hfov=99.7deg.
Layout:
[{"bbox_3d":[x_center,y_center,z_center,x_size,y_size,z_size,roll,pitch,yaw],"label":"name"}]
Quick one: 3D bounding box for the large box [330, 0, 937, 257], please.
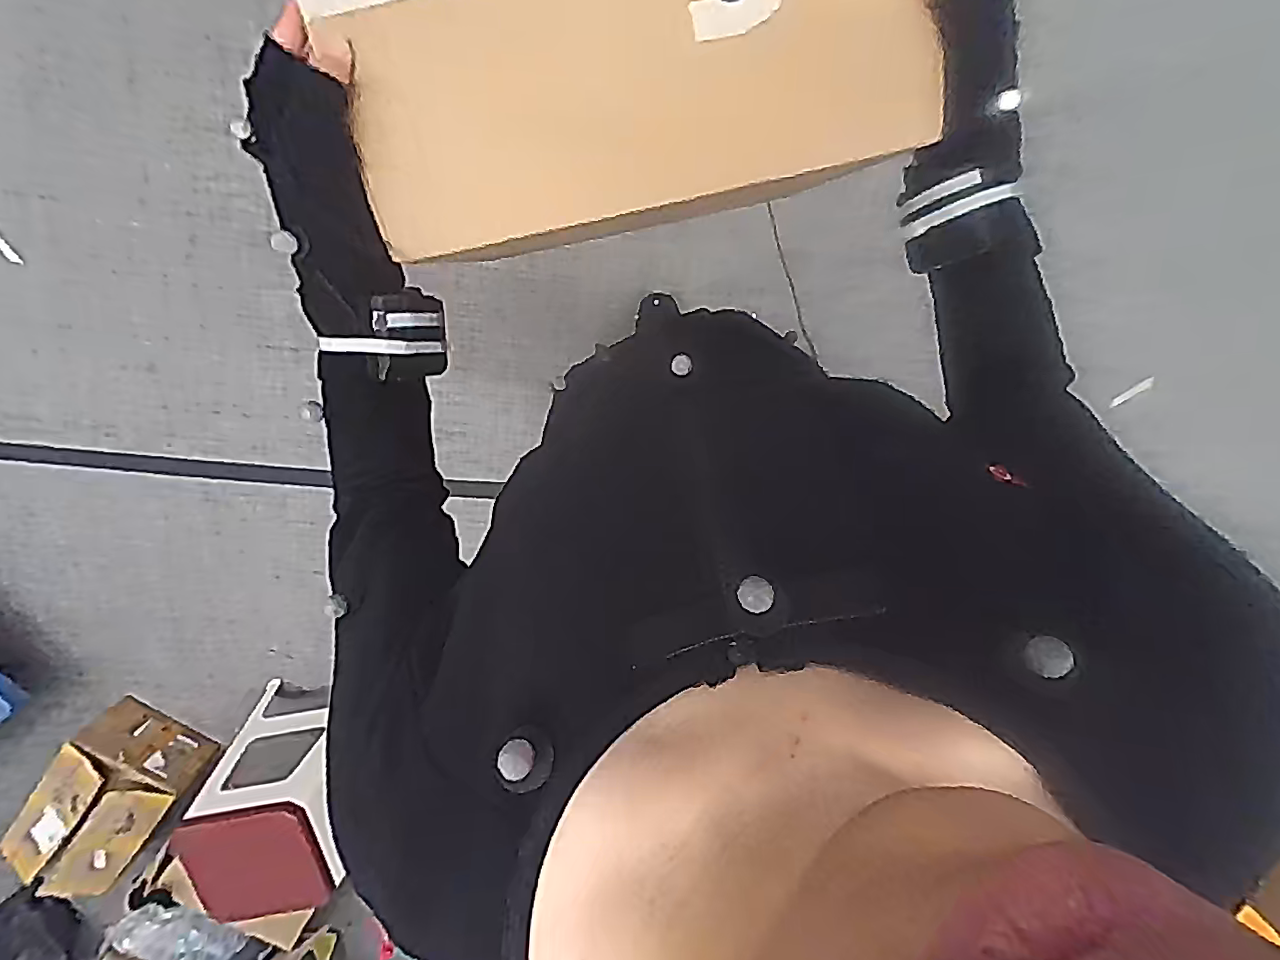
[{"bbox_3d":[-0.017,-0.407,0.483,0.408,0.320,0.320,-11,112,2],"label":"large box"}]
